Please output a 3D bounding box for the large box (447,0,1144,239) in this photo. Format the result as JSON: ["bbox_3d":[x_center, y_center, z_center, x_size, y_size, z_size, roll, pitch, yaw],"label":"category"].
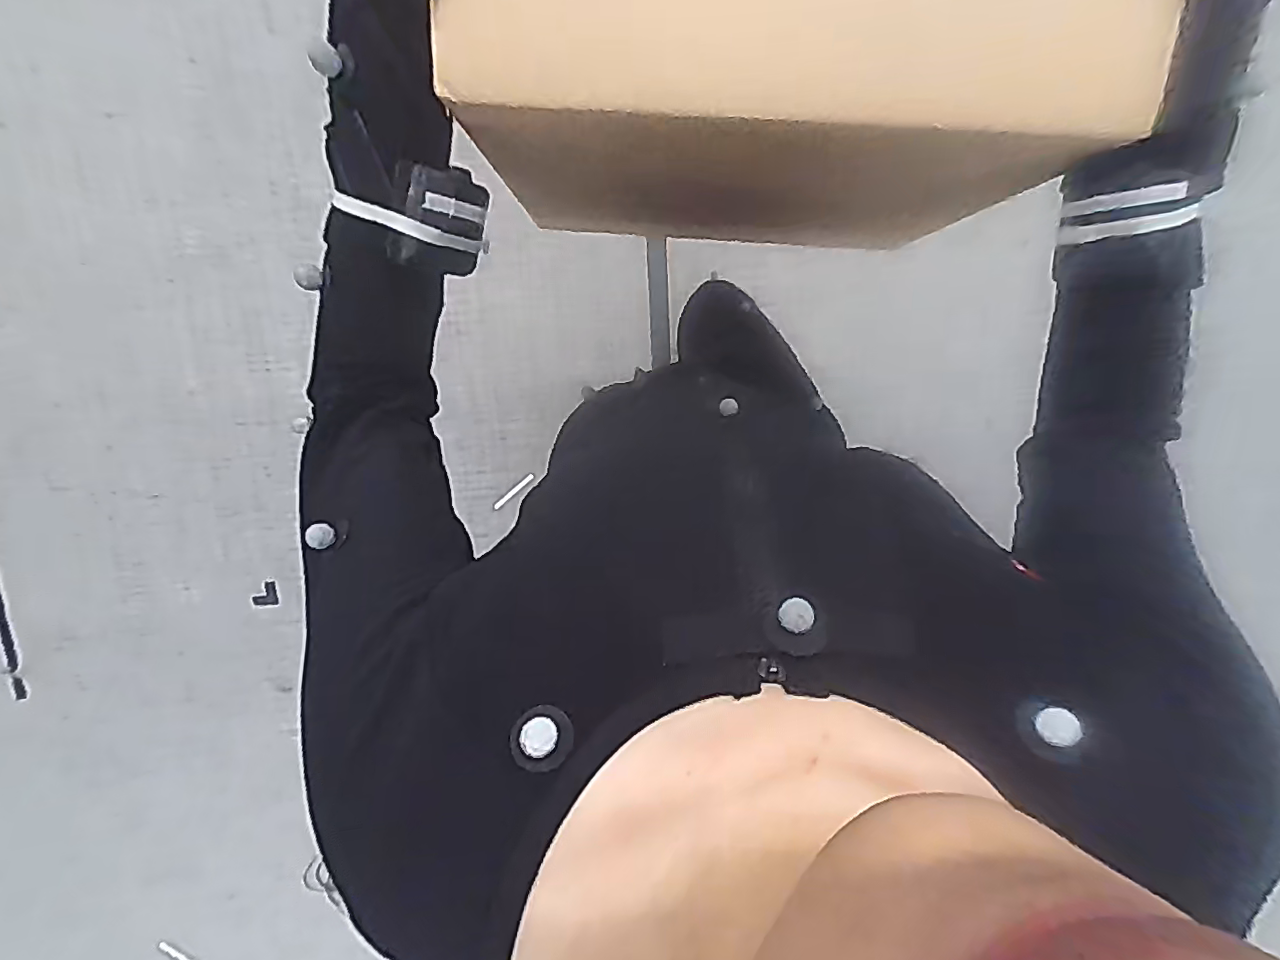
[{"bbox_3d":[0.089,-0.397,0.434,0.408,0.320,0.320,2,102,-1],"label":"large box"}]
